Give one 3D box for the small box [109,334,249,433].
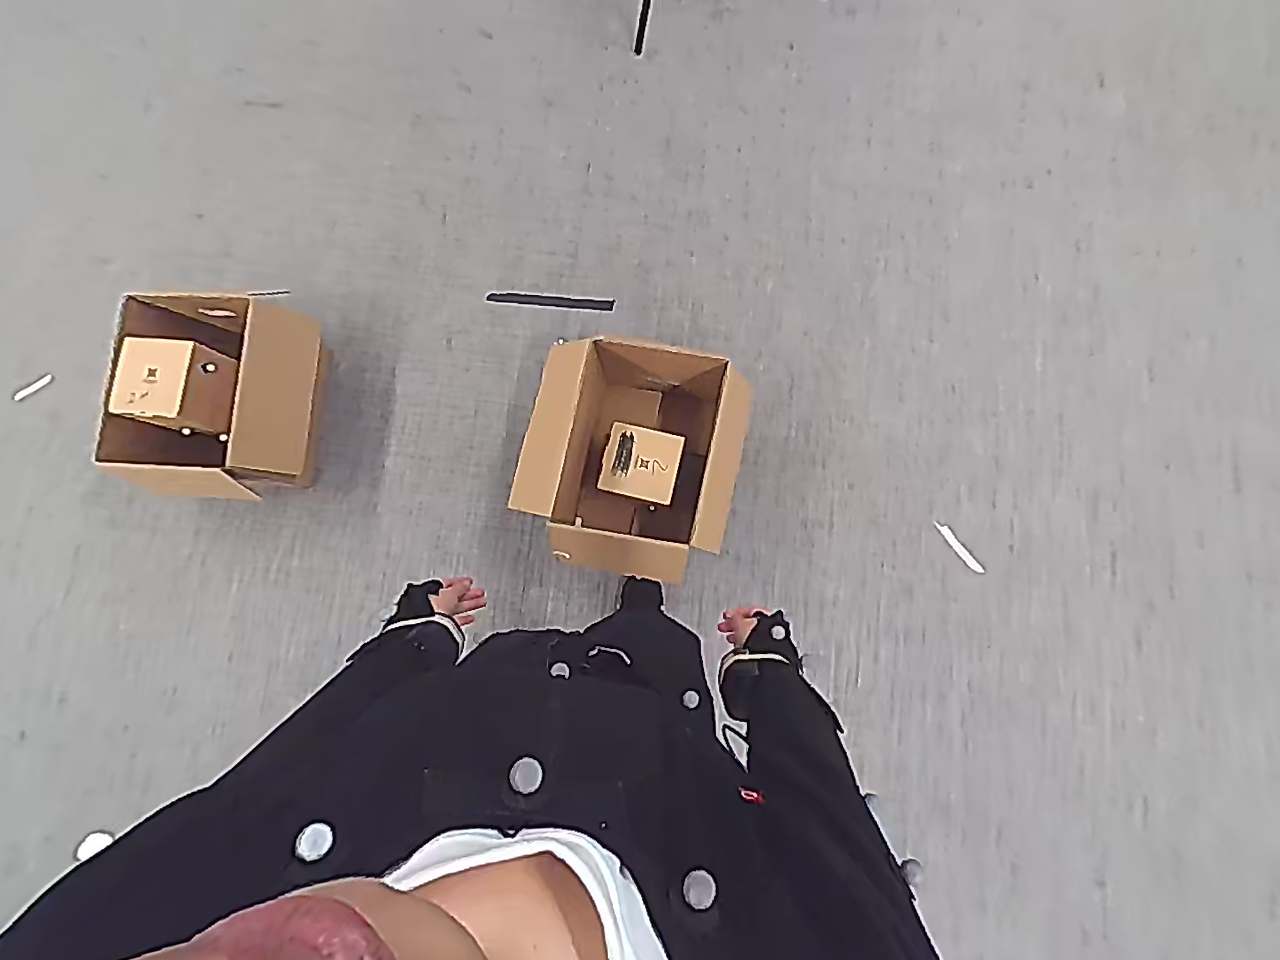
[{"bbox_3d":[-1.054,-0.217,1.252,0.168,0.176,0.179,5,82,5],"label":"small box"}]
